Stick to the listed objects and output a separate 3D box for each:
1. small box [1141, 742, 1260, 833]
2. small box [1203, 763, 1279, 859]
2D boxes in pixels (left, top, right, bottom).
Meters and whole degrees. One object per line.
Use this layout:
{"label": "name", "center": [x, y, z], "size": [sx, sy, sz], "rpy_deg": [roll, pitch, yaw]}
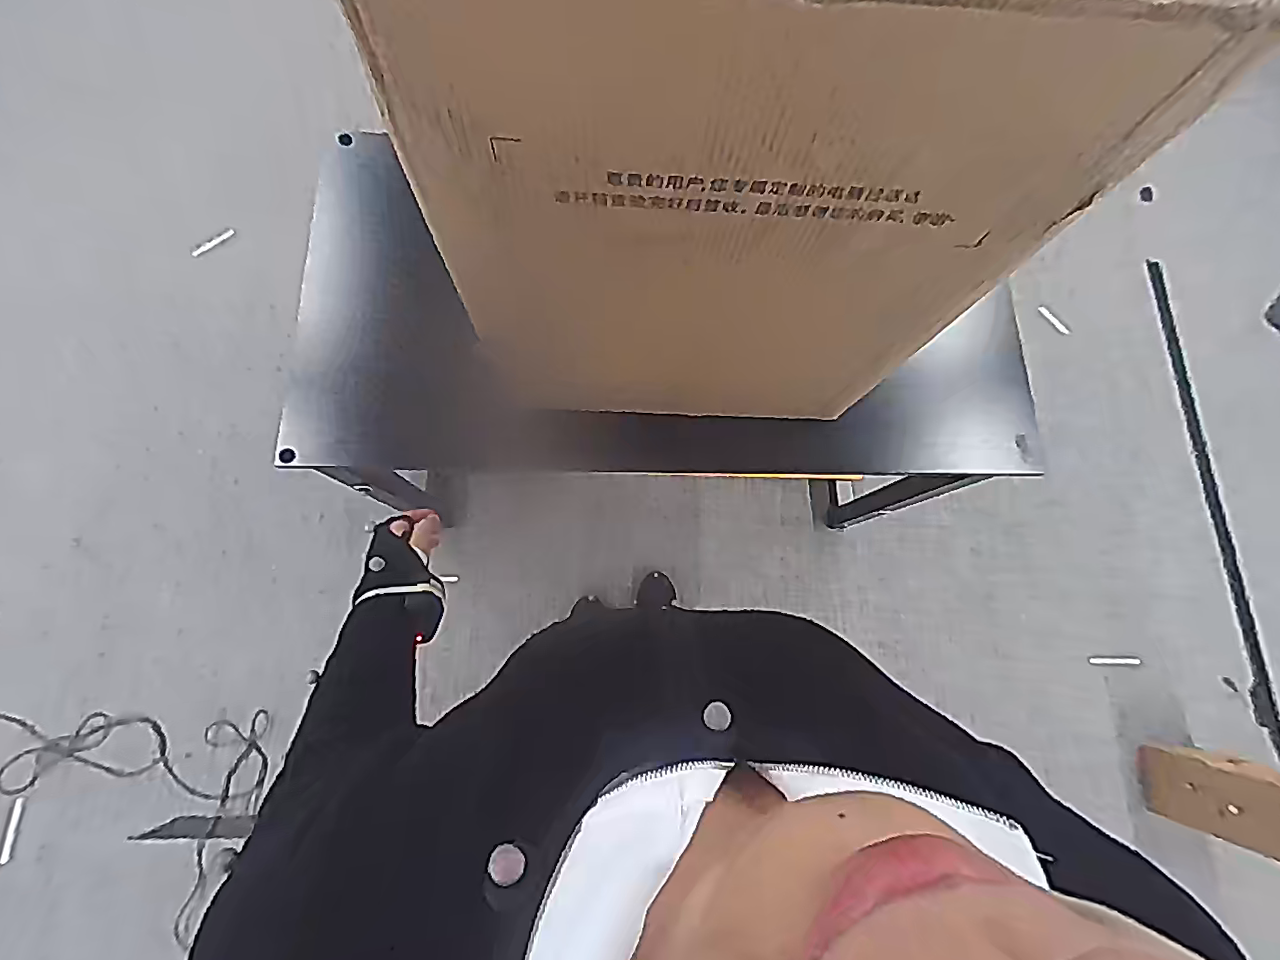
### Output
{"label": "small box", "center": [1.473, 0.802, 1.420], "size": [0.168, 0.176, 0.179], "rpy_deg": [5, 78, -3]}
{"label": "small box", "center": [1.490, 0.772, 1.259], "size": [0.179, 0.176, 0.168], "rpy_deg": [4, 77, -3]}
